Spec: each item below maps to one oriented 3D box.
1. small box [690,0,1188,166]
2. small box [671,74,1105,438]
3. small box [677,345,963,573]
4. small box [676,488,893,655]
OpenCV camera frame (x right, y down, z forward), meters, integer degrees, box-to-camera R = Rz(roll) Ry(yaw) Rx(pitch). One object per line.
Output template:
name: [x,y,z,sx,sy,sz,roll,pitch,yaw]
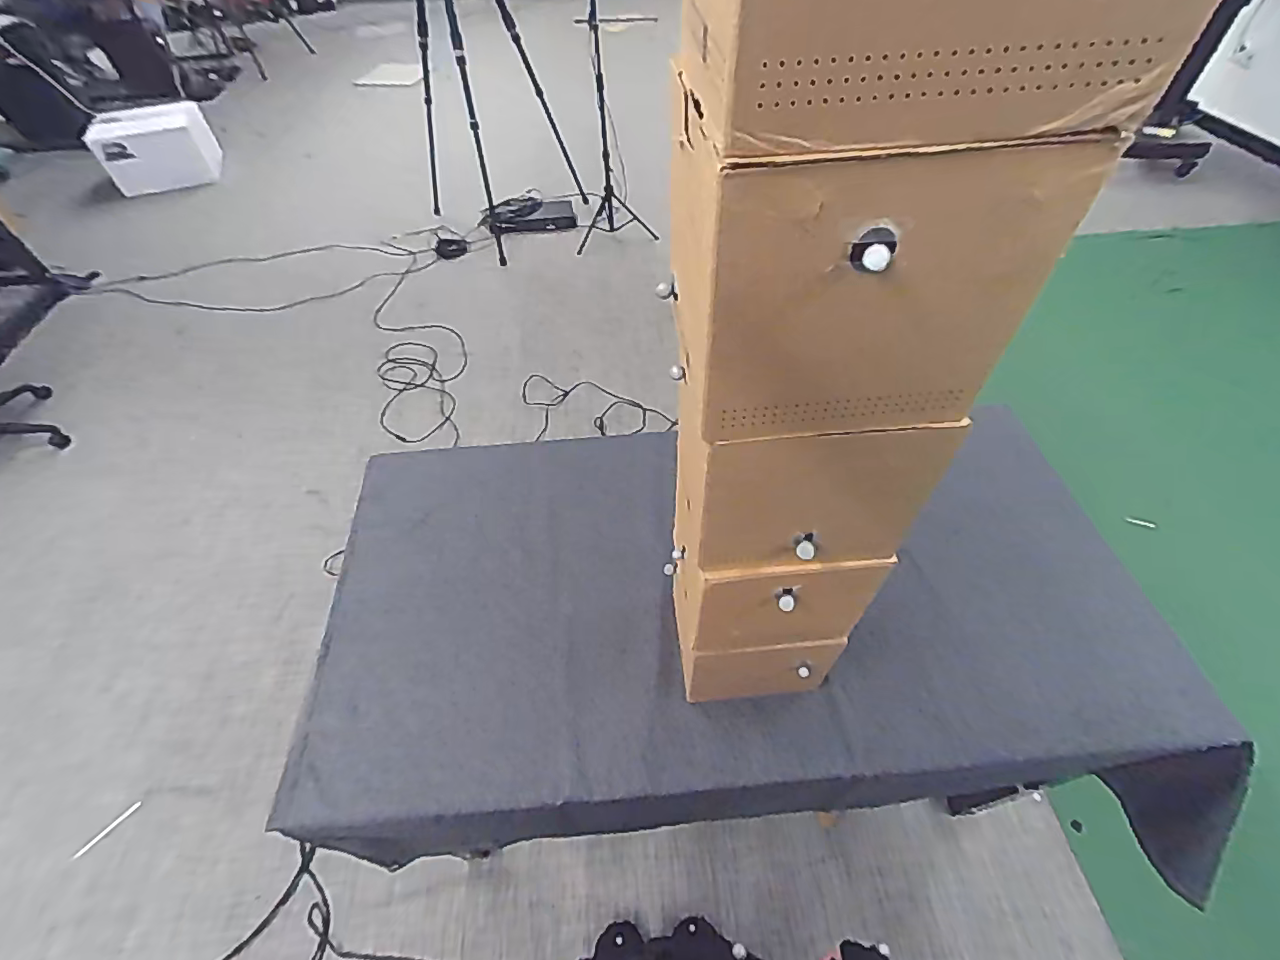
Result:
small box: [0.112,-0.246,0.218,0.179,0.176,0.168,-4,51,1]
small box: [0.115,-0.141,0.344,0.179,0.176,0.168,-5,50,-2]
small box: [0.127,-0.033,0.468,0.179,0.176,0.168,-4,50,-1]
small box: [0.136,0.076,0.589,0.179,0.176,0.168,-6,50,-2]
